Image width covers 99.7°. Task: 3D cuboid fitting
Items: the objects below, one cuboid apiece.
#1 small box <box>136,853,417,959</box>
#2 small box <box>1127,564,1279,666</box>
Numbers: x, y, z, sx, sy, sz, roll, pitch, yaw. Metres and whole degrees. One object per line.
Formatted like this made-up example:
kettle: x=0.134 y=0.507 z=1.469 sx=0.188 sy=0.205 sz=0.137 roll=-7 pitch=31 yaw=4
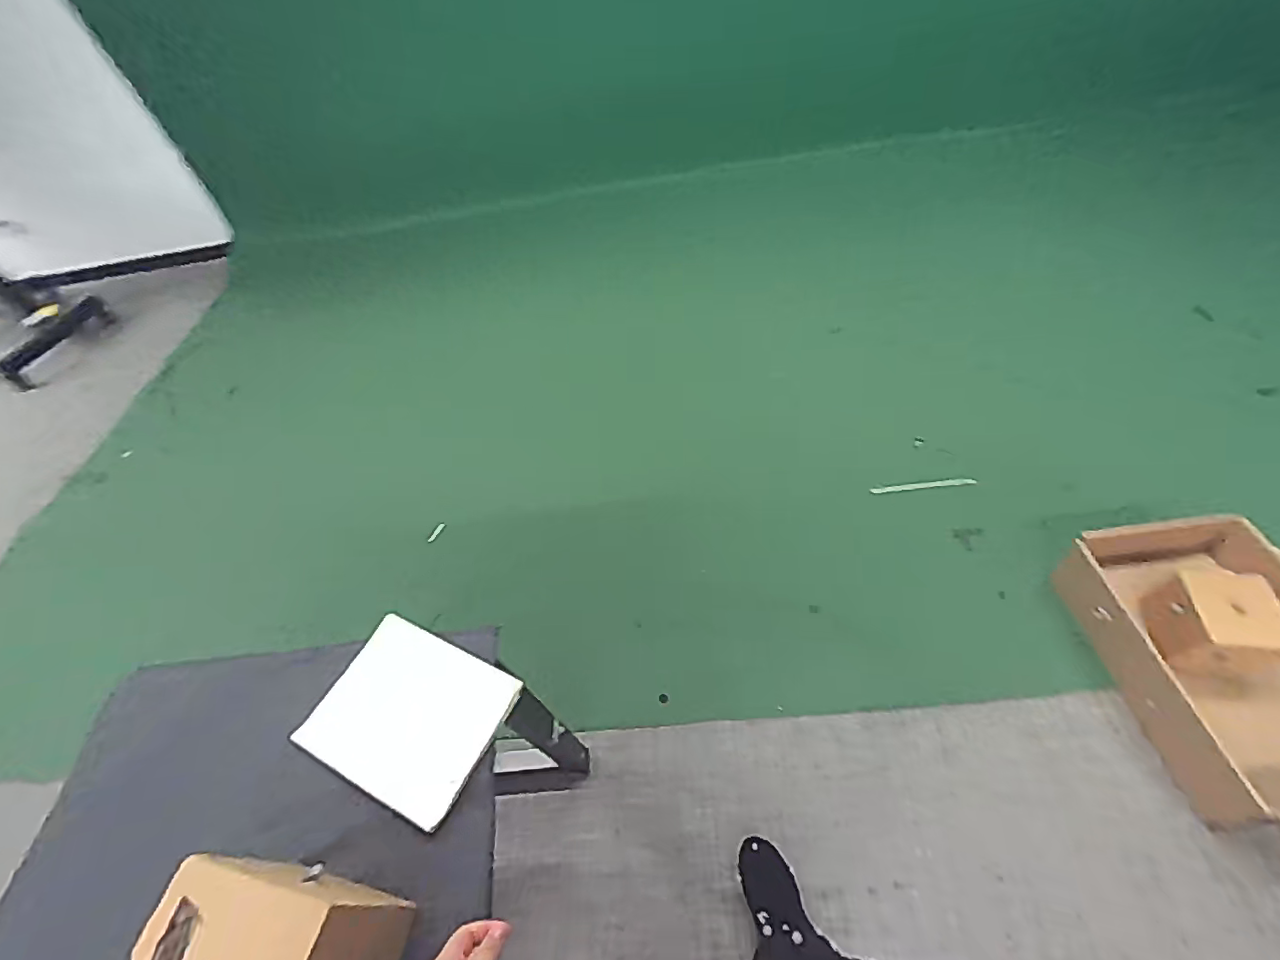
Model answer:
small box: x=-0.360 y=0.488 z=0.527 sx=0.179 sy=0.176 sz=0.168 roll=5 pitch=54 yaw=14
small box: x=1.295 y=0.315 z=1.252 sx=0.168 sy=0.176 sz=0.179 roll=2 pitch=53 yaw=10
